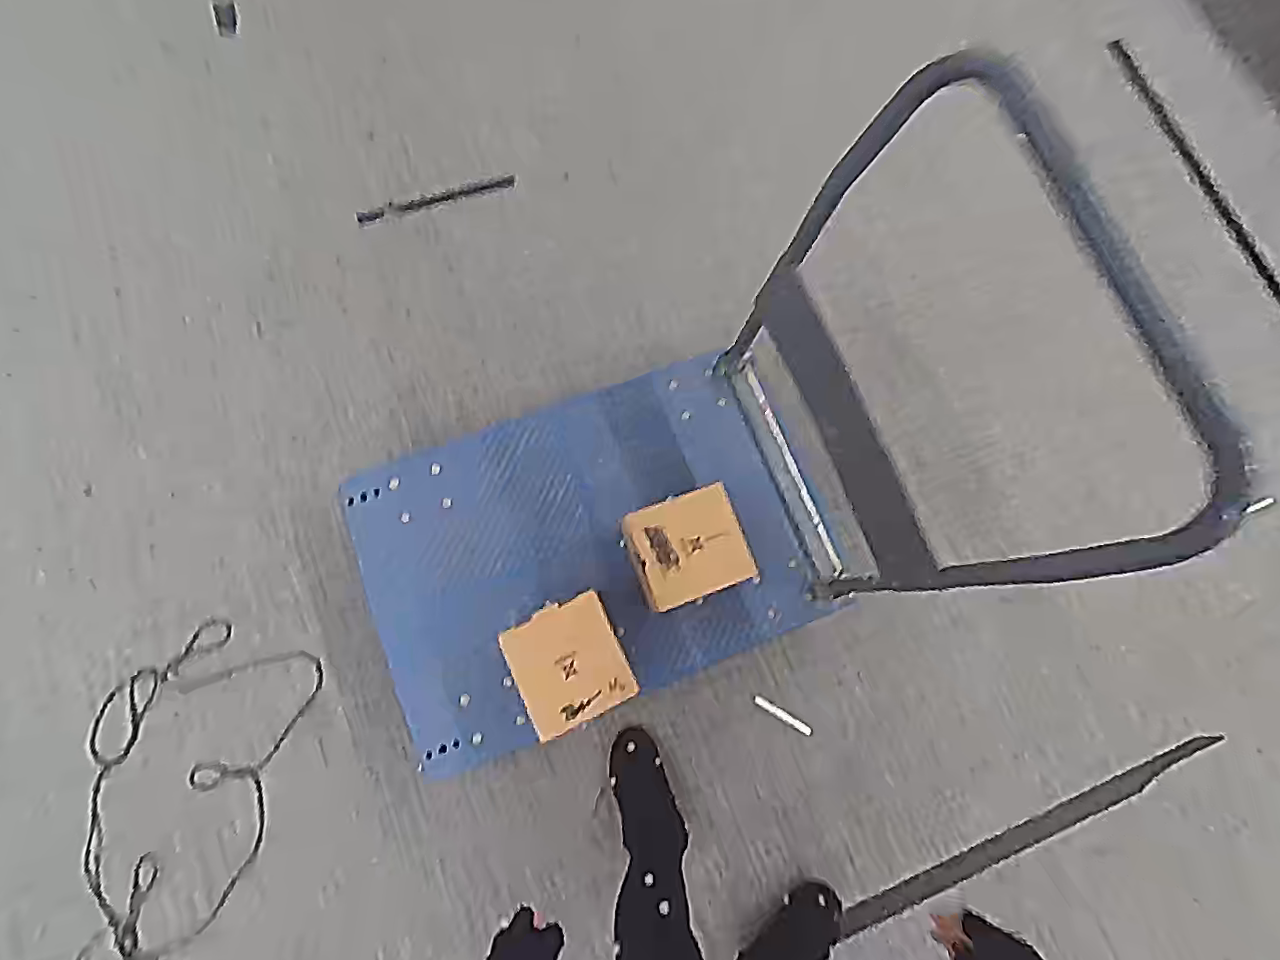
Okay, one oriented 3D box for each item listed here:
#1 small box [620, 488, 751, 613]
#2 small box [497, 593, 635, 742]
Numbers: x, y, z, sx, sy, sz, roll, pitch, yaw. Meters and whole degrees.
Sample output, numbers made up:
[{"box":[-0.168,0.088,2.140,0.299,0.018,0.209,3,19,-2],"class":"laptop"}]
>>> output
[{"box":[0.071,0.132,0.965,0.179,0.176,0.168,-19,79,-8],"class":"small box"},{"box":[-0.121,0.307,0.915,0.168,0.176,0.179,-24,79,-8],"class":"small box"}]
